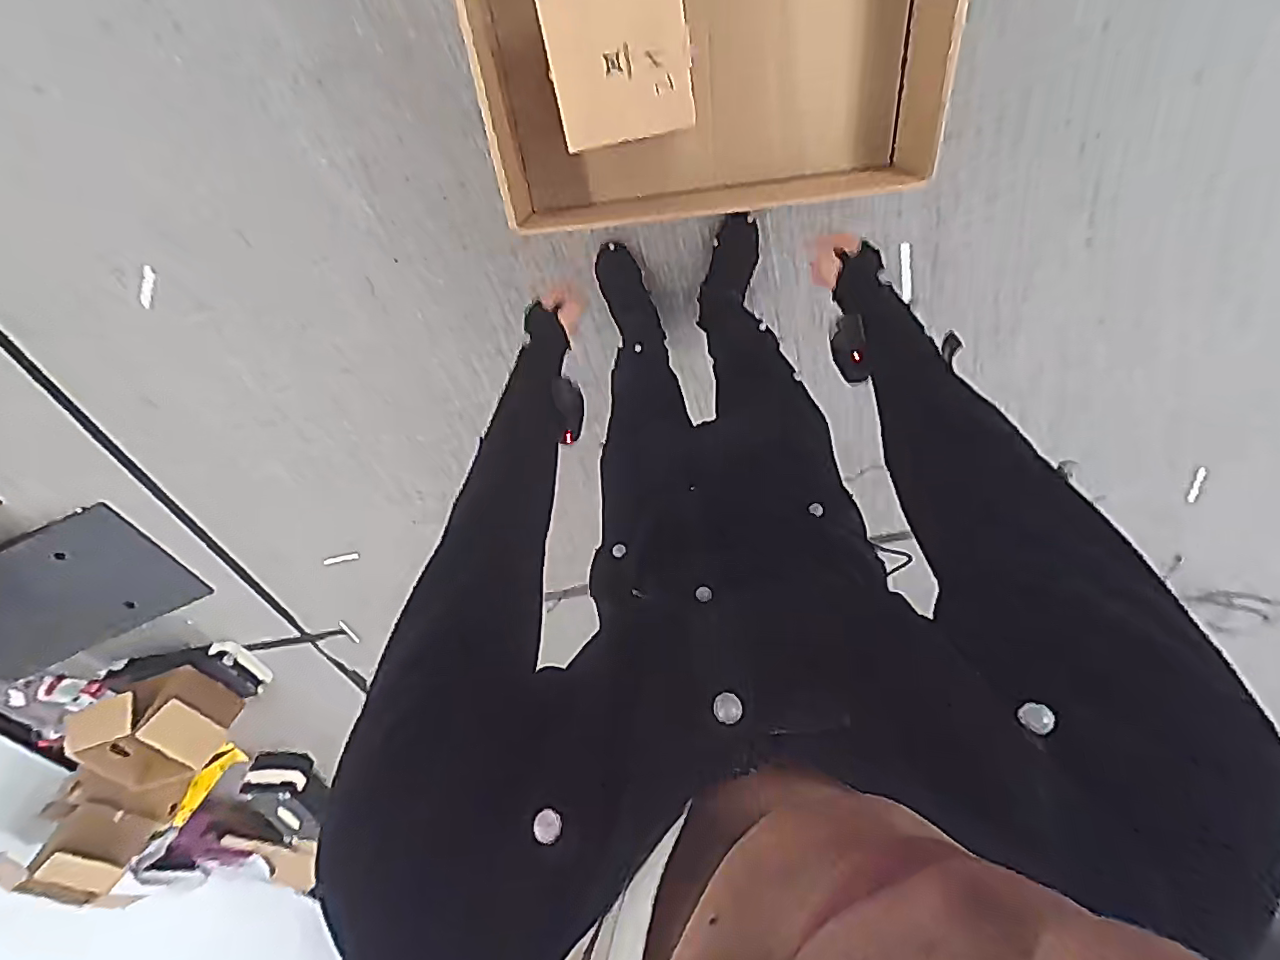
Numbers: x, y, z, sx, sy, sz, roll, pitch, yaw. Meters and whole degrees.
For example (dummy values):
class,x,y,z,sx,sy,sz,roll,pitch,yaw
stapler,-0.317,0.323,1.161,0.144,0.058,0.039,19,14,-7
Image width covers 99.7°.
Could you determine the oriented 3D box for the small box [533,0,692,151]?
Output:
class,x,y,z,sx,sy,sz,roll,pitch,yaw
small box,-0.027,-0.561,0.735,0.179,0.176,0.168,-8,126,6
